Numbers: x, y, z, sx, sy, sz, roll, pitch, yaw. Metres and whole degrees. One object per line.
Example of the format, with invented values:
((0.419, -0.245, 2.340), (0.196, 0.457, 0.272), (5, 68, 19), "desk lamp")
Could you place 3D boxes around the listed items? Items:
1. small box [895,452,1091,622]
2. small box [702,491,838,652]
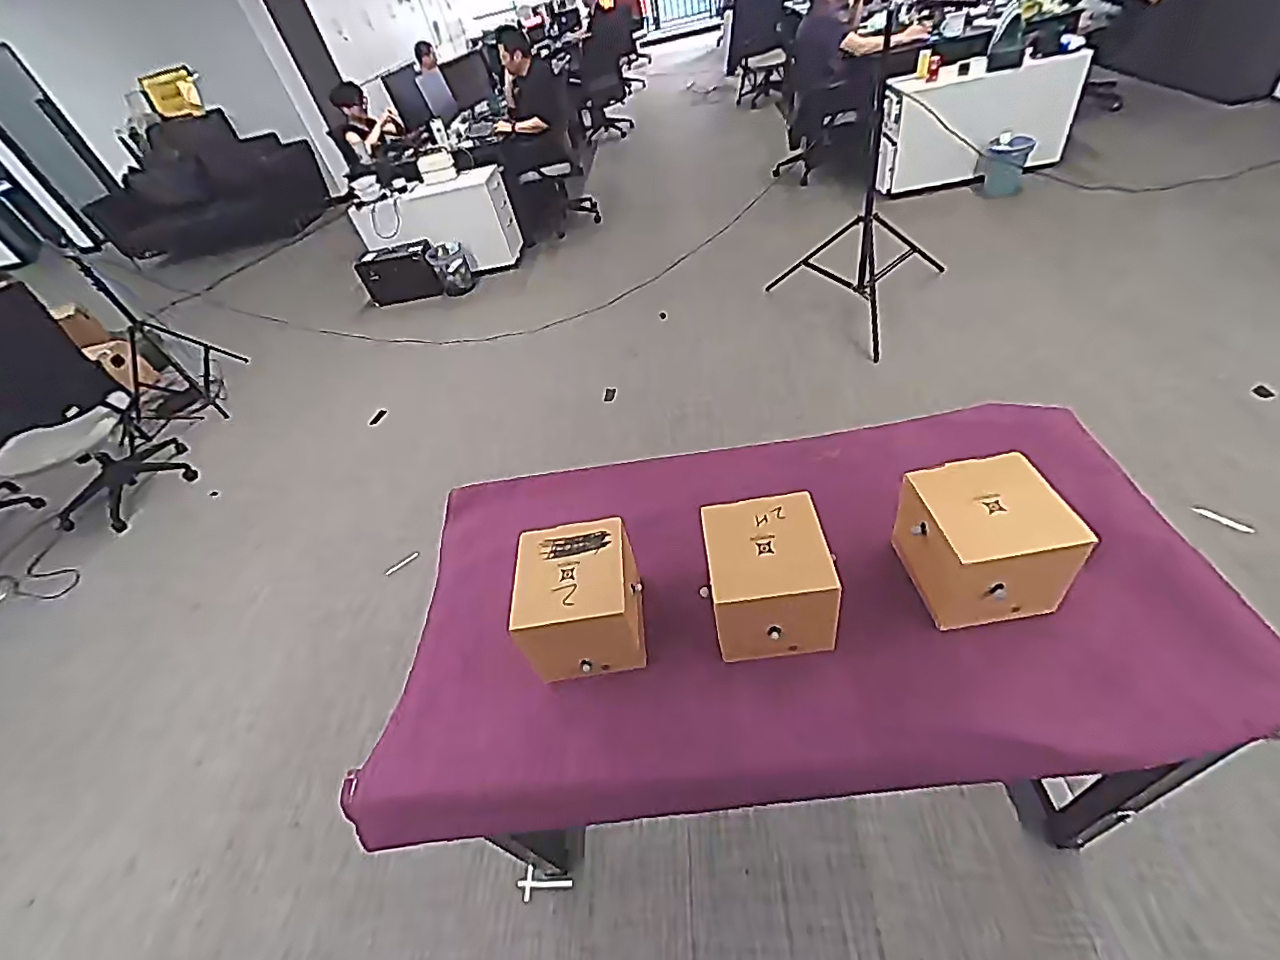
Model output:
((0.495, 0.090, 0.792), (0.168, 0.176, 0.179), (-11, 42, 5), "small box")
((0.192, 0.145, 0.819), (0.168, 0.176, 0.179), (-8, 44, 6), "small box")
